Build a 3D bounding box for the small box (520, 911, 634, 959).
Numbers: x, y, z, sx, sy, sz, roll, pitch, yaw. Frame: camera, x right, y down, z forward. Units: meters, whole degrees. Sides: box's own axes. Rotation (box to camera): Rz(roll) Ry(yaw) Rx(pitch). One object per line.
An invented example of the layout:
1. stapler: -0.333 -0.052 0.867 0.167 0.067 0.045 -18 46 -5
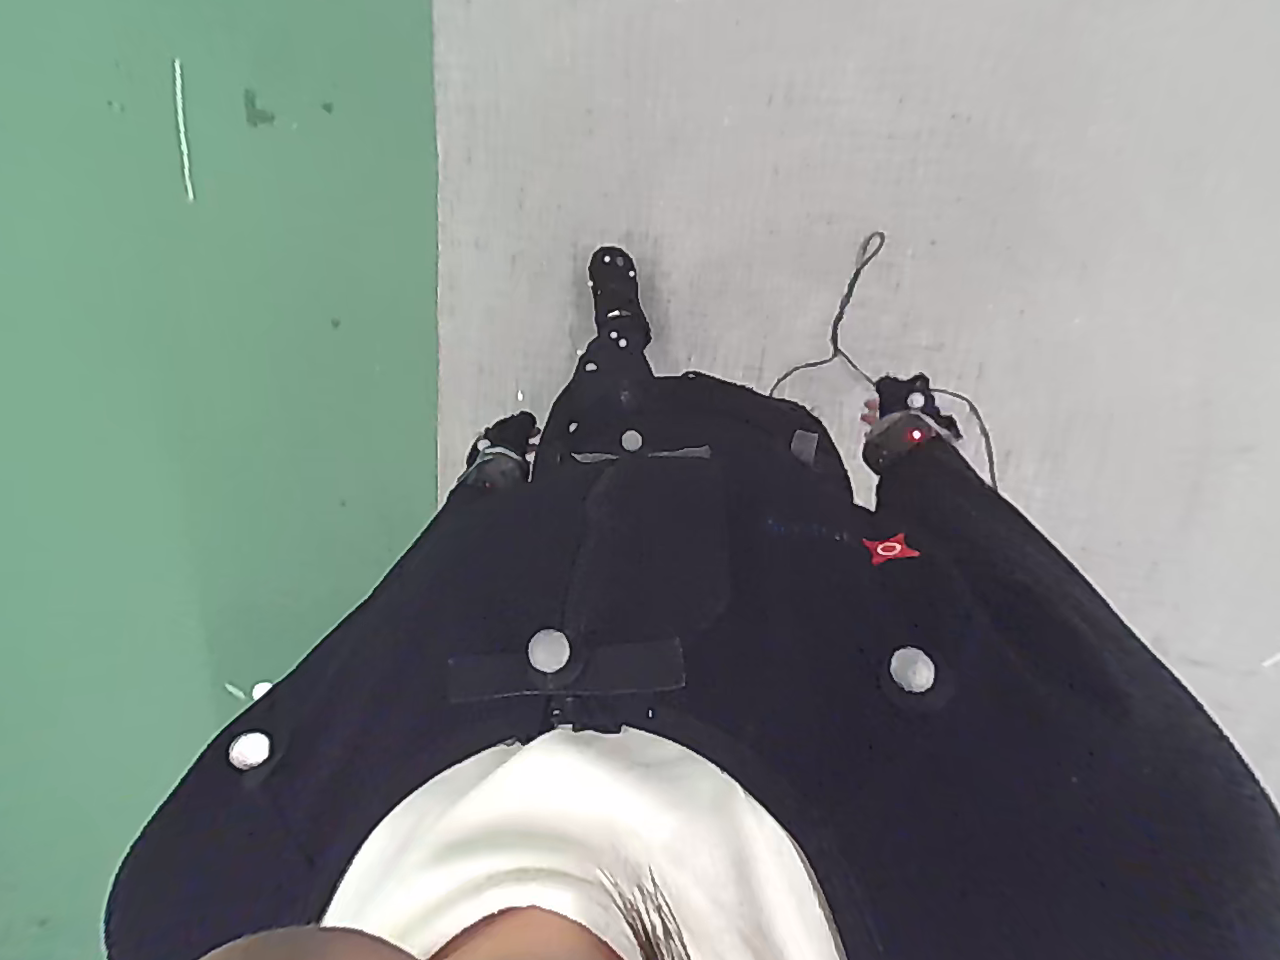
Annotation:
1. small box: -0.107 0.817 0.835 0.179 0.176 0.168 5 105 7
